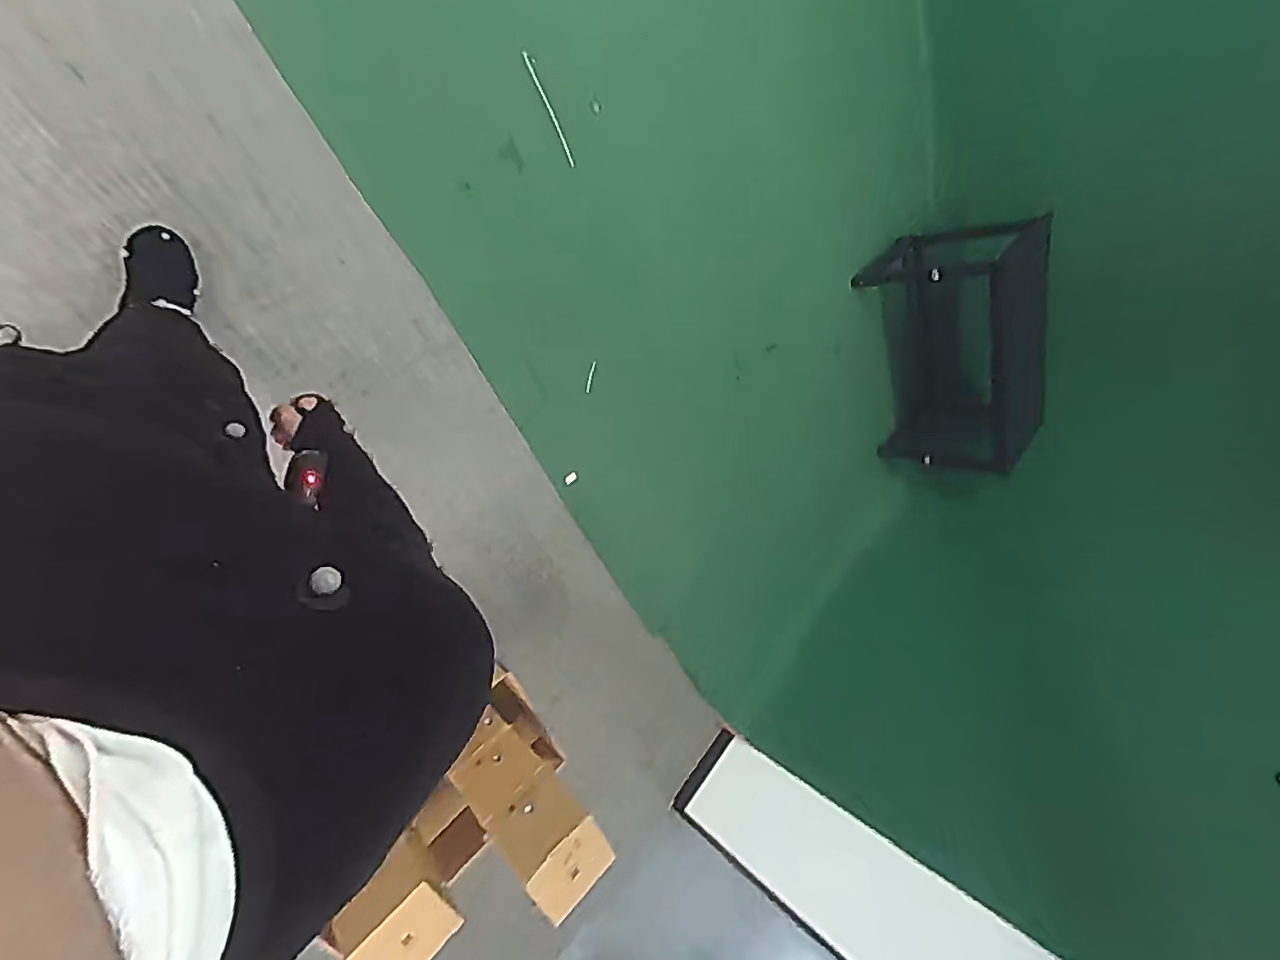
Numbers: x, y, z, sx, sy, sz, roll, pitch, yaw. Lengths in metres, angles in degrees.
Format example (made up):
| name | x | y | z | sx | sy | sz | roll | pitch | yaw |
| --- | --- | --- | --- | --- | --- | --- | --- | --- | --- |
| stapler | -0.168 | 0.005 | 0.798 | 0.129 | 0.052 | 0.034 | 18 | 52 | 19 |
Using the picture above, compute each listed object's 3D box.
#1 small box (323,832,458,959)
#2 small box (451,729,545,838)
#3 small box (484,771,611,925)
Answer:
| name | x | y | z | sx | sy | sz | roll | pitch | yaw |
| --- | --- | --- | --- | --- | --- | --- | --- | --- | --- |
| small box | -0.509 | 0.872 | 1.104 | 0.168 | 0.176 | 0.179 | -37 | 123 | -29 |
| small box | -0.303 | 0.719 | 1.247 | 0.168 | 0.176 | 0.179 | -36 | 123 | -29 |
| small box | -0.194 | 0.755 | 1.128 | 0.168 | 0.176 | 0.179 | -36 | 122 | -30 |
